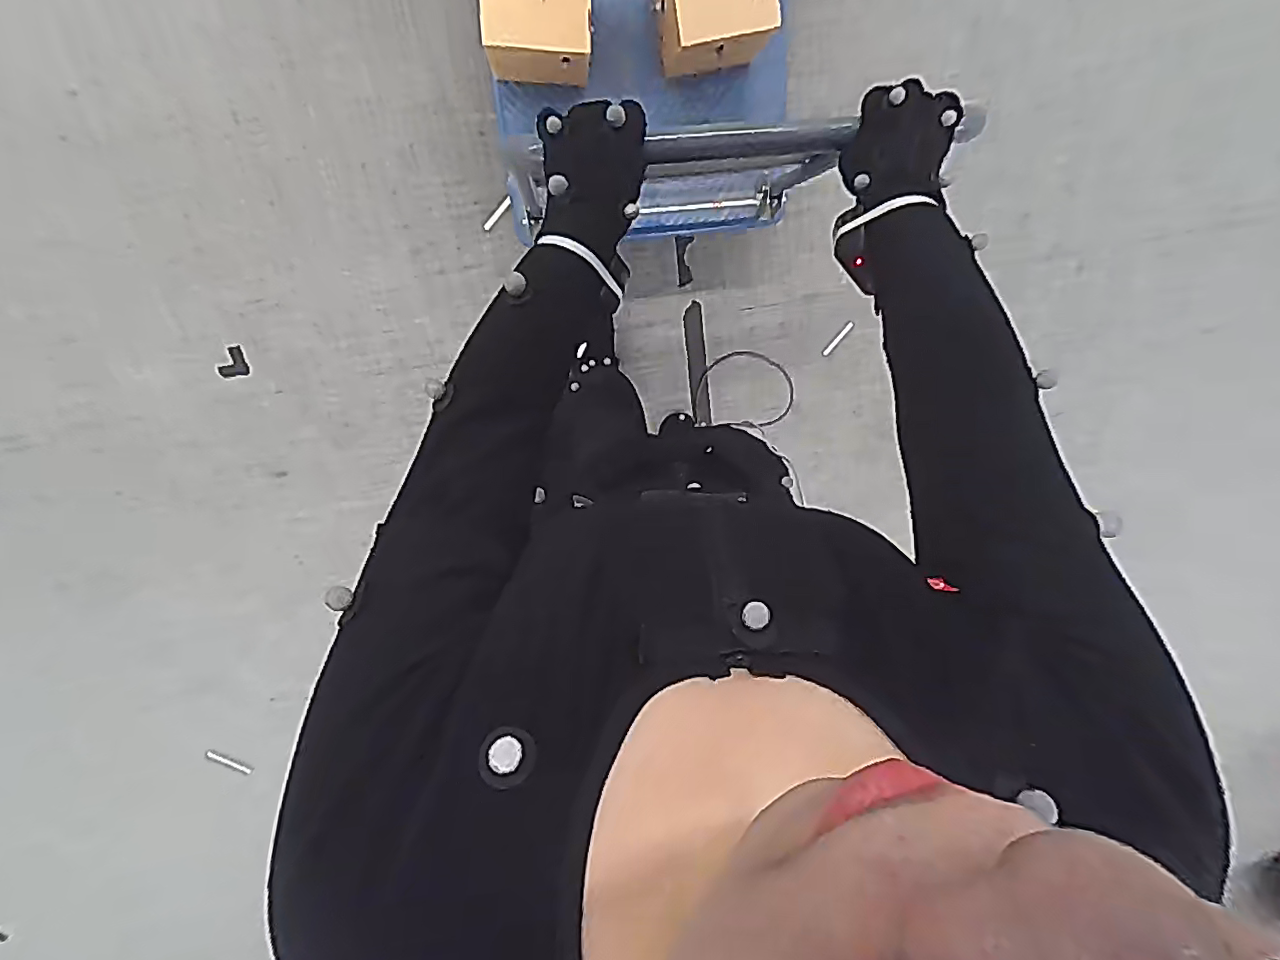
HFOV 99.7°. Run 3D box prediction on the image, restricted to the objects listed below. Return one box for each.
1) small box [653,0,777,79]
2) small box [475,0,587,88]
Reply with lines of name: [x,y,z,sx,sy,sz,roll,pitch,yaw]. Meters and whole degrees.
small box: [0.121,-0.831,0.938,0.179,0.176,0.168,-13,112,-2]
small box: [-0.181,-0.790,0.915,0.179,0.176,0.168,-2,111,-8]
